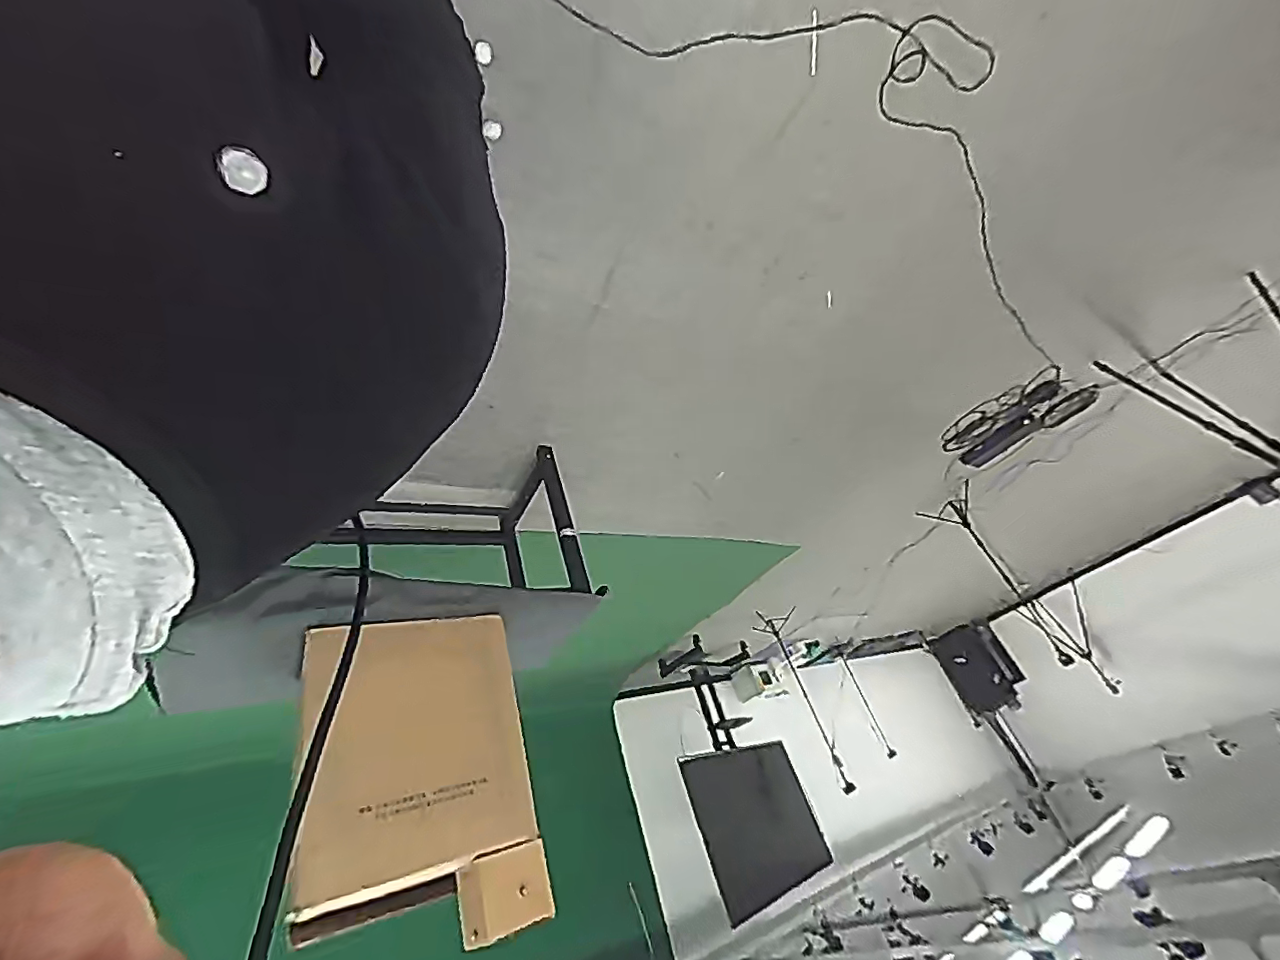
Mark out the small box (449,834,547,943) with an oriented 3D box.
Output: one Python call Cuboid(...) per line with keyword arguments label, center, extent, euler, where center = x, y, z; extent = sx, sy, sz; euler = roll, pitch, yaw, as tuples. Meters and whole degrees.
Cuboid(label="small box", center=(-0.365, 1.031, 1.374), extent=(0.179, 0.176, 0.168), euler=(6, 138, -39))
